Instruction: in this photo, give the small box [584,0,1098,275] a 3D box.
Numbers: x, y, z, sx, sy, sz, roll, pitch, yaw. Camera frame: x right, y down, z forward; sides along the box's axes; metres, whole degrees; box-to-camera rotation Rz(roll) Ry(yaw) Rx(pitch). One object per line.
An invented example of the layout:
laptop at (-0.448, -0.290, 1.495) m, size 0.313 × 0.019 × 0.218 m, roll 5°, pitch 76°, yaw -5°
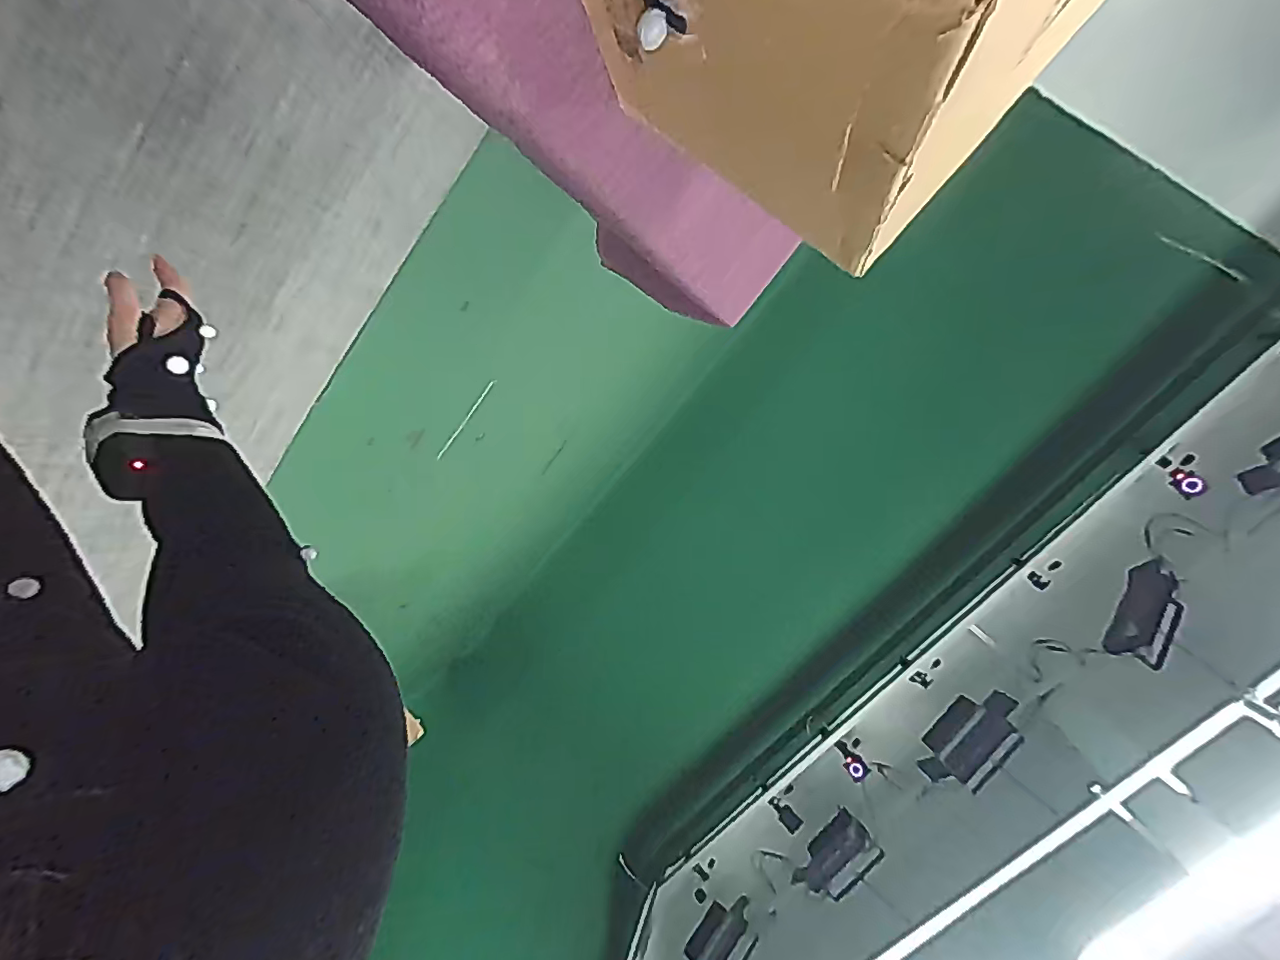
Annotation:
small box at (0.087, -0.221, 0.199) m, size 0.179 × 0.176 × 0.168 m, roll -48°, pitch 171°, yaw 9°
